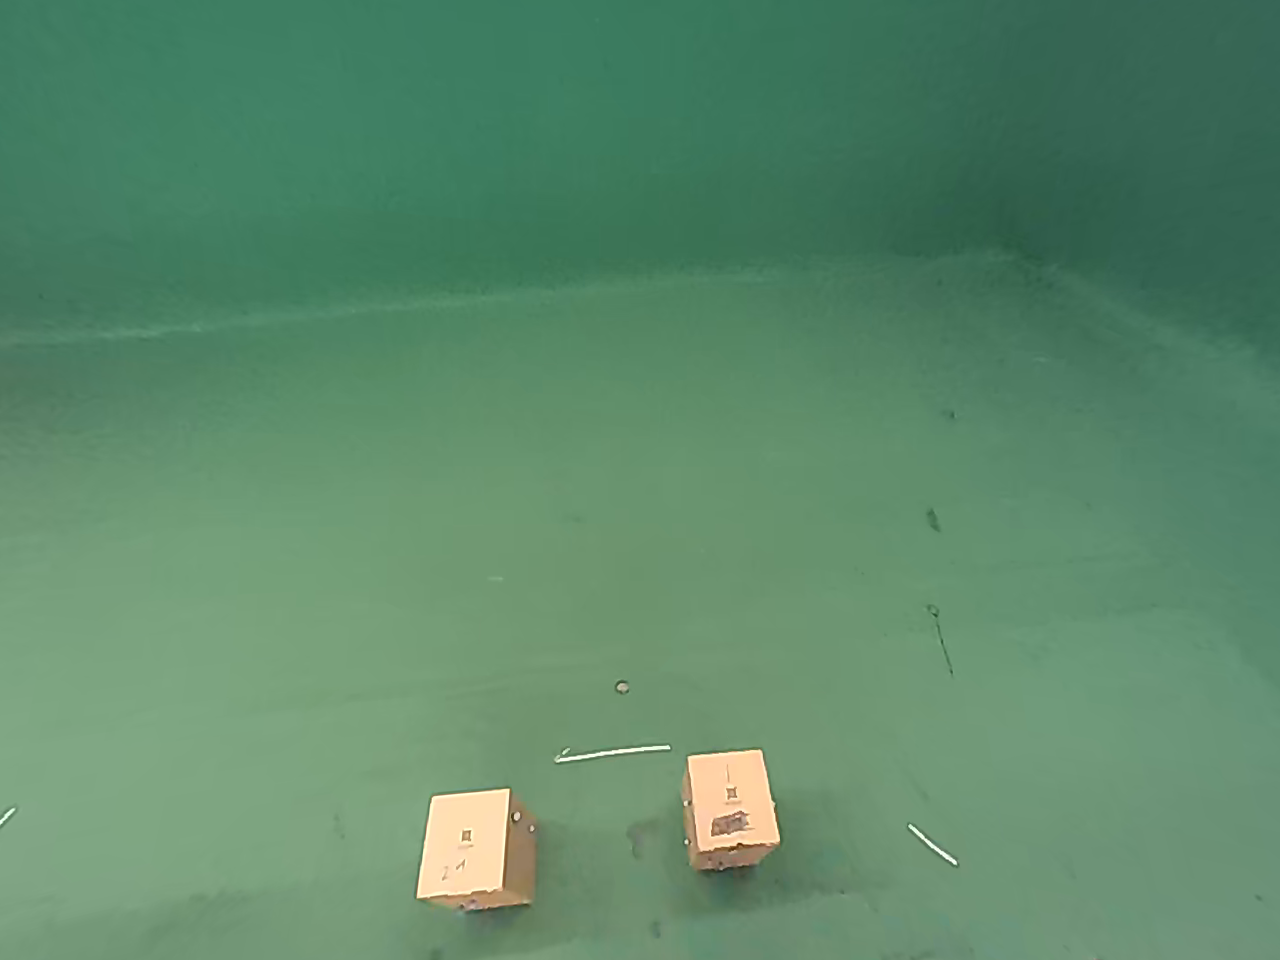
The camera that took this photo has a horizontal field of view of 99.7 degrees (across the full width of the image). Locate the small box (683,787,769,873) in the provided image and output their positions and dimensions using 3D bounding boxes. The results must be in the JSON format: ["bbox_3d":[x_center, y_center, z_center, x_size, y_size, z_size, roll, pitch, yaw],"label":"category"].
[{"bbox_3d":[0.198,0.821,1.298,0.168,0.176,0.179,-5,49,-2],"label":"small box"}]

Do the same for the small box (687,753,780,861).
[{"bbox_3d":[0.194,0.713,1.174,0.168,0.176,0.179,-3,49,-2],"label":"small box"}]

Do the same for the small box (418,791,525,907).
[{"bbox_3d":[-0.343,0.776,1.138,0.168,0.176,0.179,-5,48,-1],"label":"small box"}]
